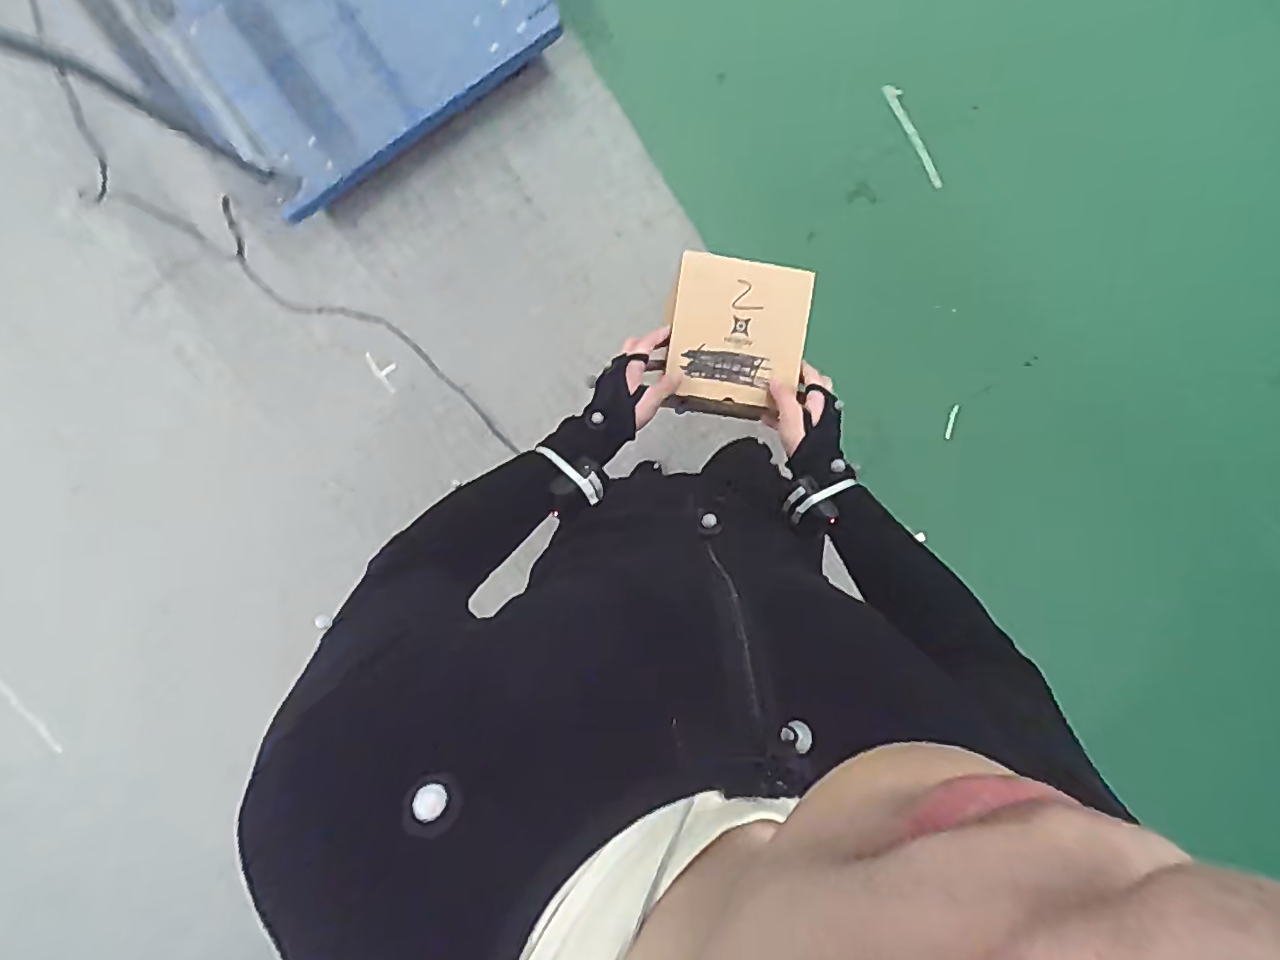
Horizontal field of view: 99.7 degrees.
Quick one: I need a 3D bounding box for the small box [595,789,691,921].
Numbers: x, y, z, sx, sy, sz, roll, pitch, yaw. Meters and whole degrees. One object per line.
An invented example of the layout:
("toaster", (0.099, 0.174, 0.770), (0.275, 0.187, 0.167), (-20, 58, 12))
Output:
("small box", (0.003, 0.904, 1.322), (0.179, 0.176, 0.168), (-27, 96, 2))
